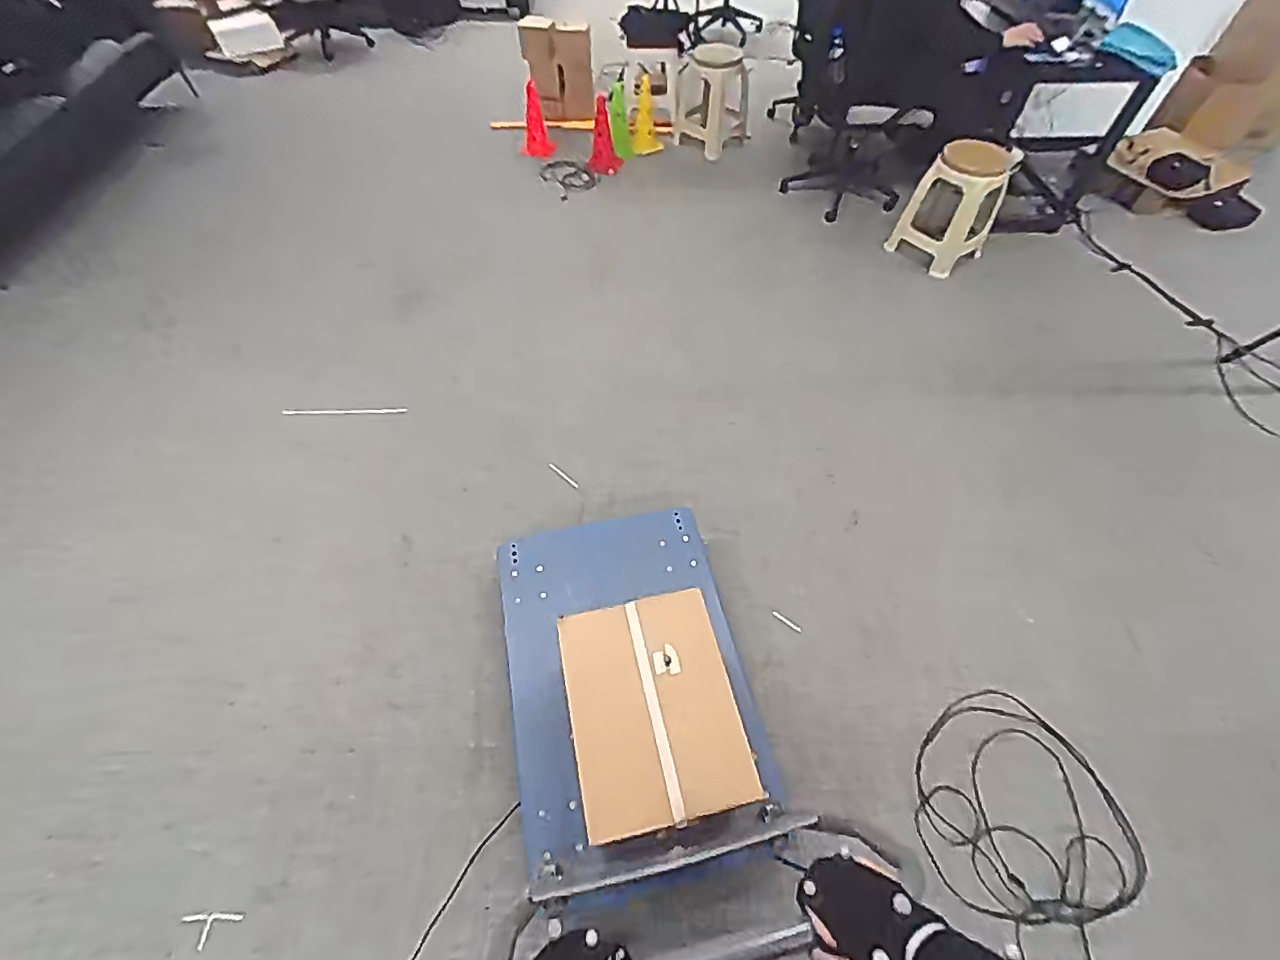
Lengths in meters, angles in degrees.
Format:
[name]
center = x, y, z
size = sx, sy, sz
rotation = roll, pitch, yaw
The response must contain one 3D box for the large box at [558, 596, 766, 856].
[large box]
center = 0.027, 0.519, 1.149
size = 0.320, 0.320, 0.408
rotation = -11, 56, -9
